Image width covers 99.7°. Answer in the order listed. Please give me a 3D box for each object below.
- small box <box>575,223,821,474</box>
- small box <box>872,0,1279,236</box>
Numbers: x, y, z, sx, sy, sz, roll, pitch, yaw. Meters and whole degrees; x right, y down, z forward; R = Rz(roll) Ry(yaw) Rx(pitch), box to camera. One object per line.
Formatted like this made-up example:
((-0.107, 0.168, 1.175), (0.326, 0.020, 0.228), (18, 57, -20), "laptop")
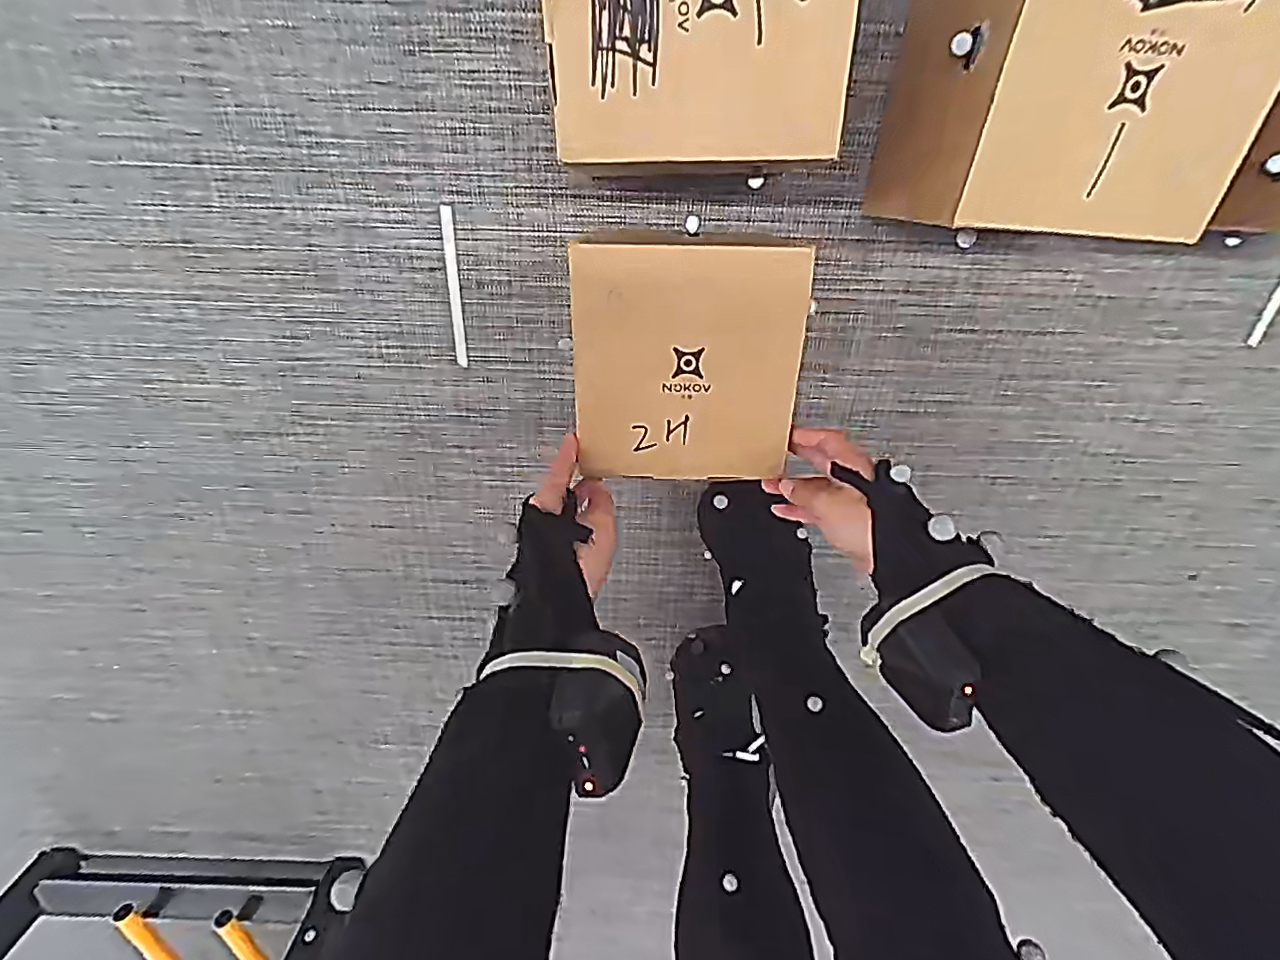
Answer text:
((0.036, -0.120, 0.460), (0.168, 0.176, 0.179), (1, 118, 0), "small box")
((0.288, -0.277, 0.378), (0.168, 0.176, 0.179), (4, 118, -2), "small box")
